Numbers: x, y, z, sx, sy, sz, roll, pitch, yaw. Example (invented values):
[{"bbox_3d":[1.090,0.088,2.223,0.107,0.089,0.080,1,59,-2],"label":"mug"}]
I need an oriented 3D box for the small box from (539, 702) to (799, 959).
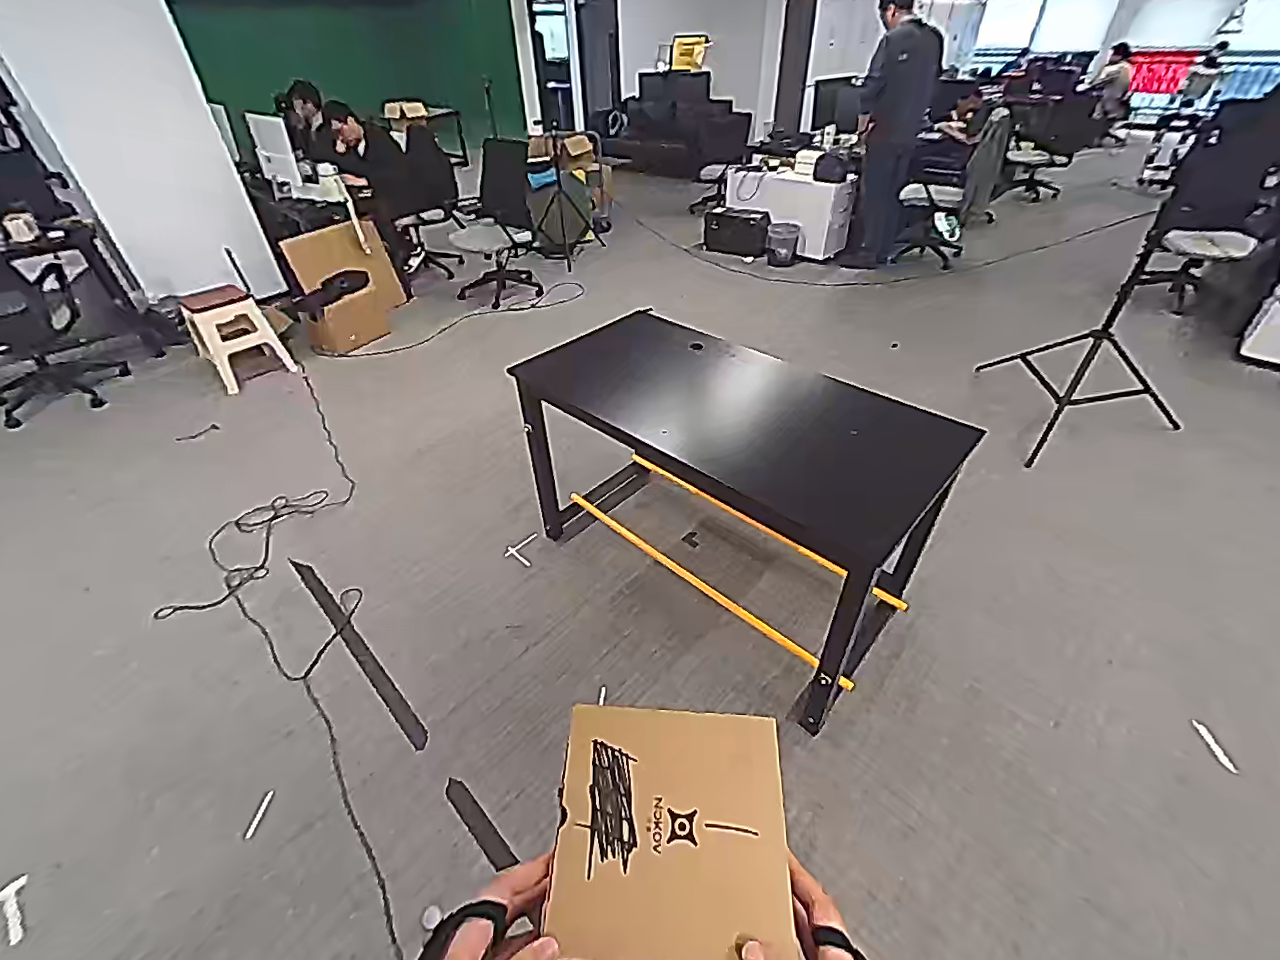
[{"bbox_3d":[0.022,0.305,0.466,0.179,0.176,0.168,3,52,1],"label":"small box"}]
